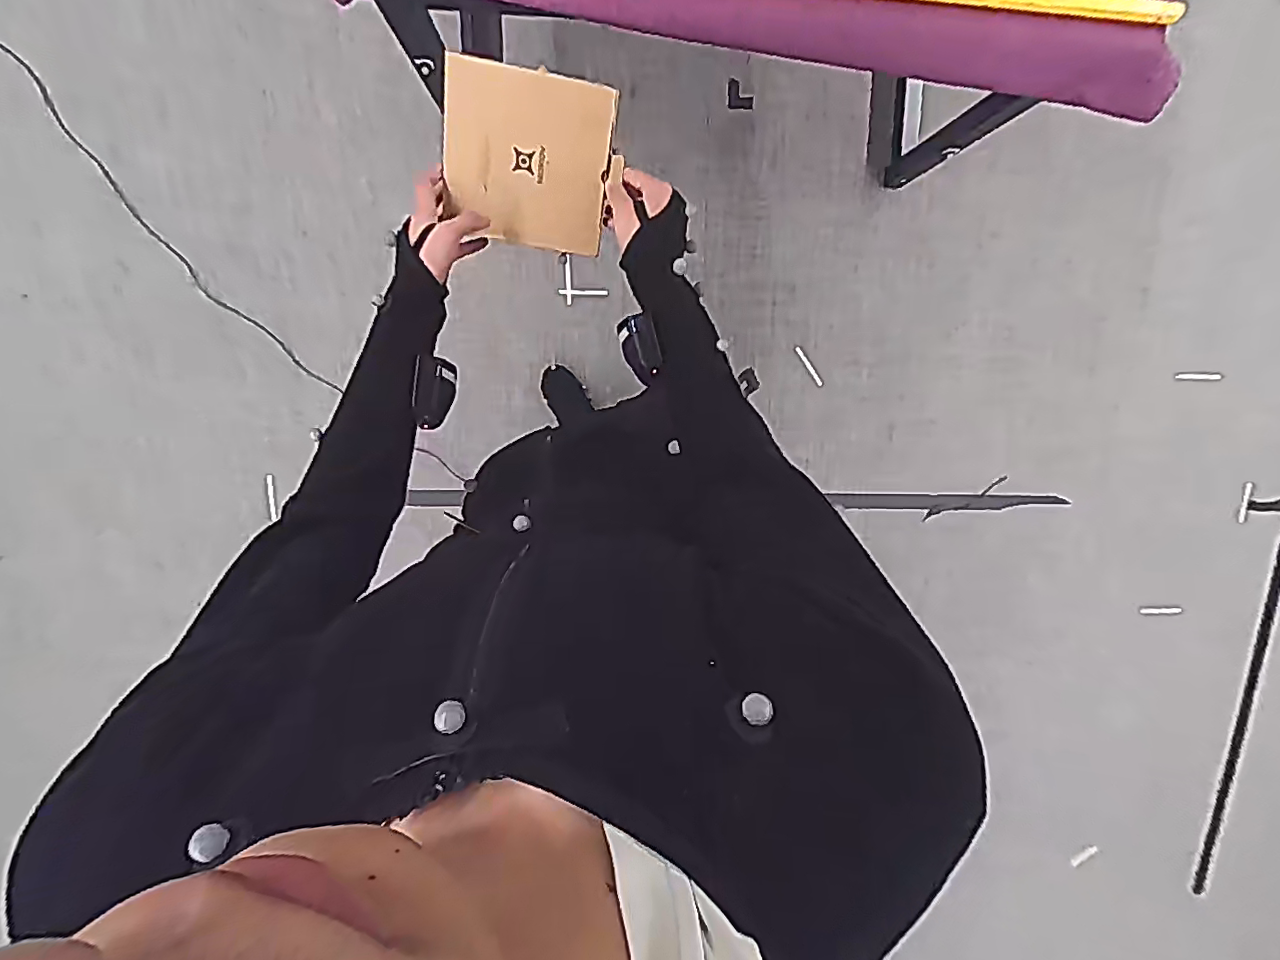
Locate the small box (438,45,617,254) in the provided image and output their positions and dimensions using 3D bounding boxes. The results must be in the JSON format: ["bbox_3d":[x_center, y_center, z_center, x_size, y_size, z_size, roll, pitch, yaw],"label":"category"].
[{"bbox_3d":[-0.129,-0.374,0.644,0.179,0.176,0.168,7,112,-8],"label":"small box"}]
